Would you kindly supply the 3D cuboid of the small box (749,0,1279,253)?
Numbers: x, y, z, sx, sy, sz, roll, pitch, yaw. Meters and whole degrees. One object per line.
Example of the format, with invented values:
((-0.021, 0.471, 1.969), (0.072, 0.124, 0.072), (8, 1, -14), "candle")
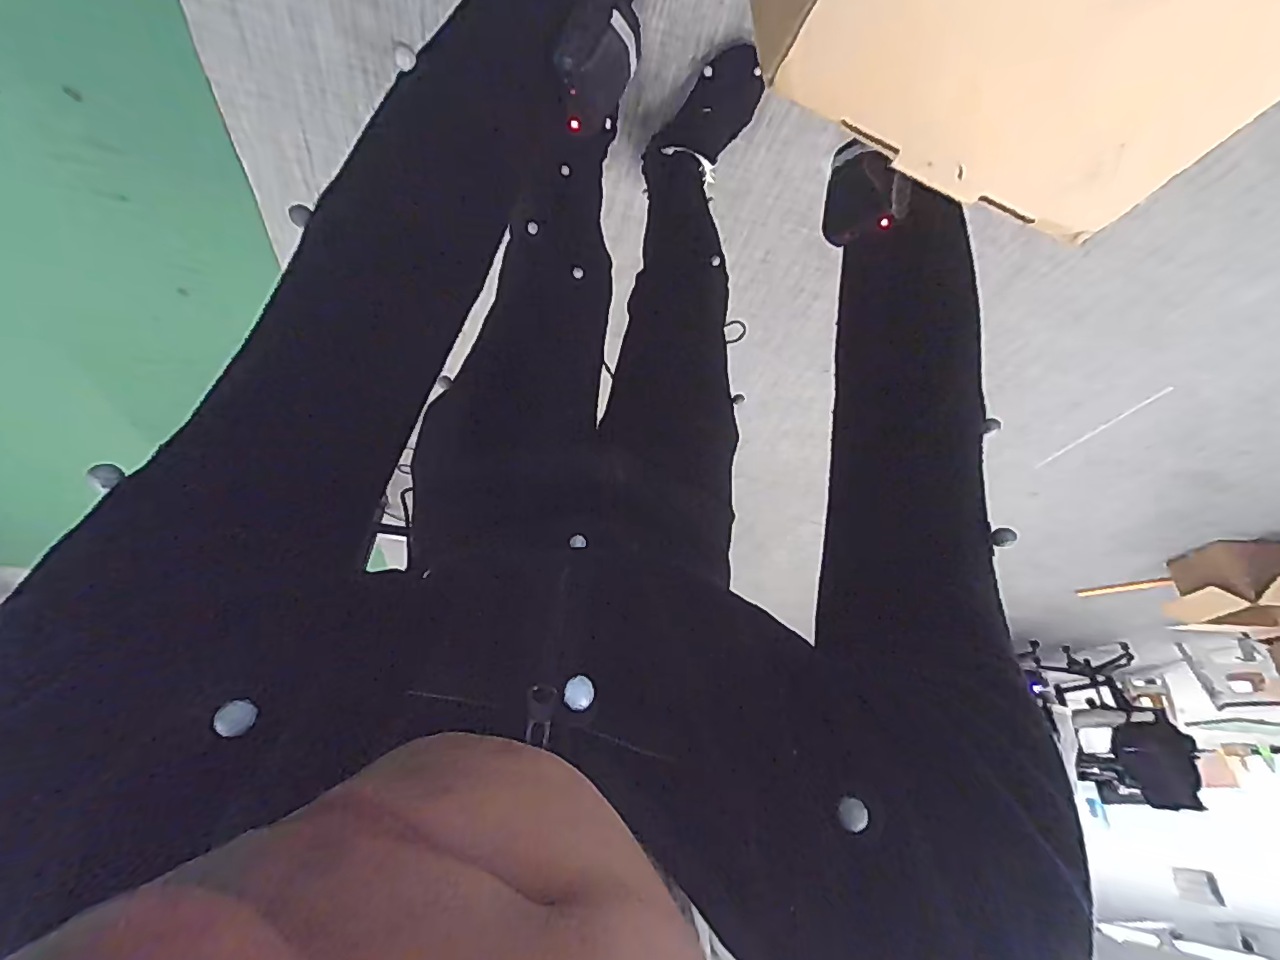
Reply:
((0.149, -0.222, 0.177), (0.168, 0.176, 0.179), (12, 149, -19), "small box")
